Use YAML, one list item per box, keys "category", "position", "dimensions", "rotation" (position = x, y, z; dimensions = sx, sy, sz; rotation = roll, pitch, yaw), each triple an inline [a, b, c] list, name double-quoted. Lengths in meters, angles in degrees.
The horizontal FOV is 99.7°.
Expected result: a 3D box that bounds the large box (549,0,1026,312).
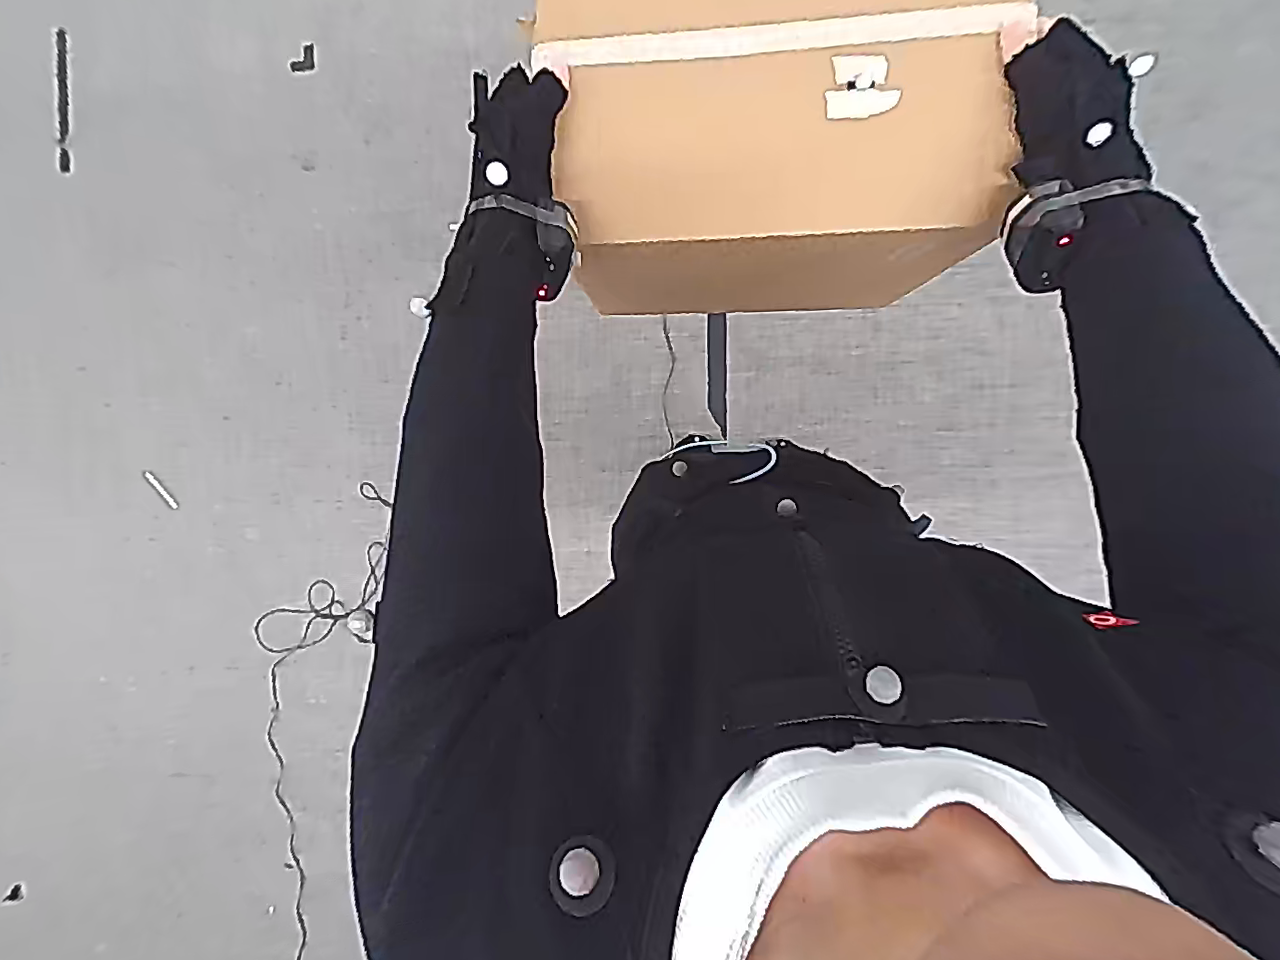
- category: "large box"
  position: [0.127, -0.386, 0.607]
  dimensions: [0.408, 0.320, 0.320]
  rotation: [-1, 96, 4]
